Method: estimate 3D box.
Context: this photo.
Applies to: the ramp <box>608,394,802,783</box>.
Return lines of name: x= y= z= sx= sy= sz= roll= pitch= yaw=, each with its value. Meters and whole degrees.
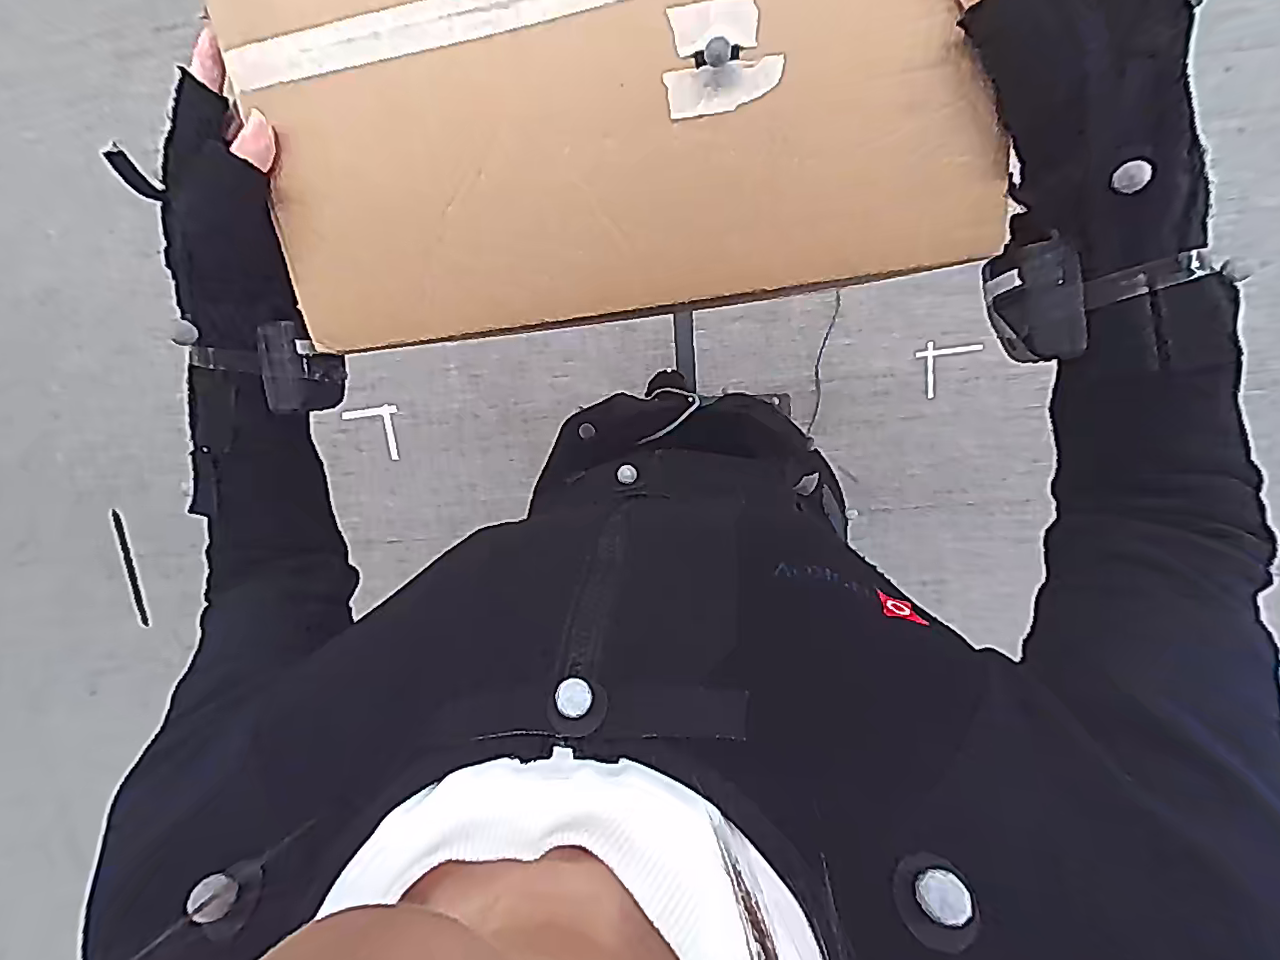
ramp: x=0.161 y=0.281 z=1.422 sx=0.509 sy=0.206 sz=0.991 roll=-3 pitch=99 yaw=9

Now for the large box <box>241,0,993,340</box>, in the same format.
large box: x=-0.010 y=-0.302 z=0.425 sx=0.408 sy=0.320 sz=0.320 roll=-6 pitch=107 yaw=9
